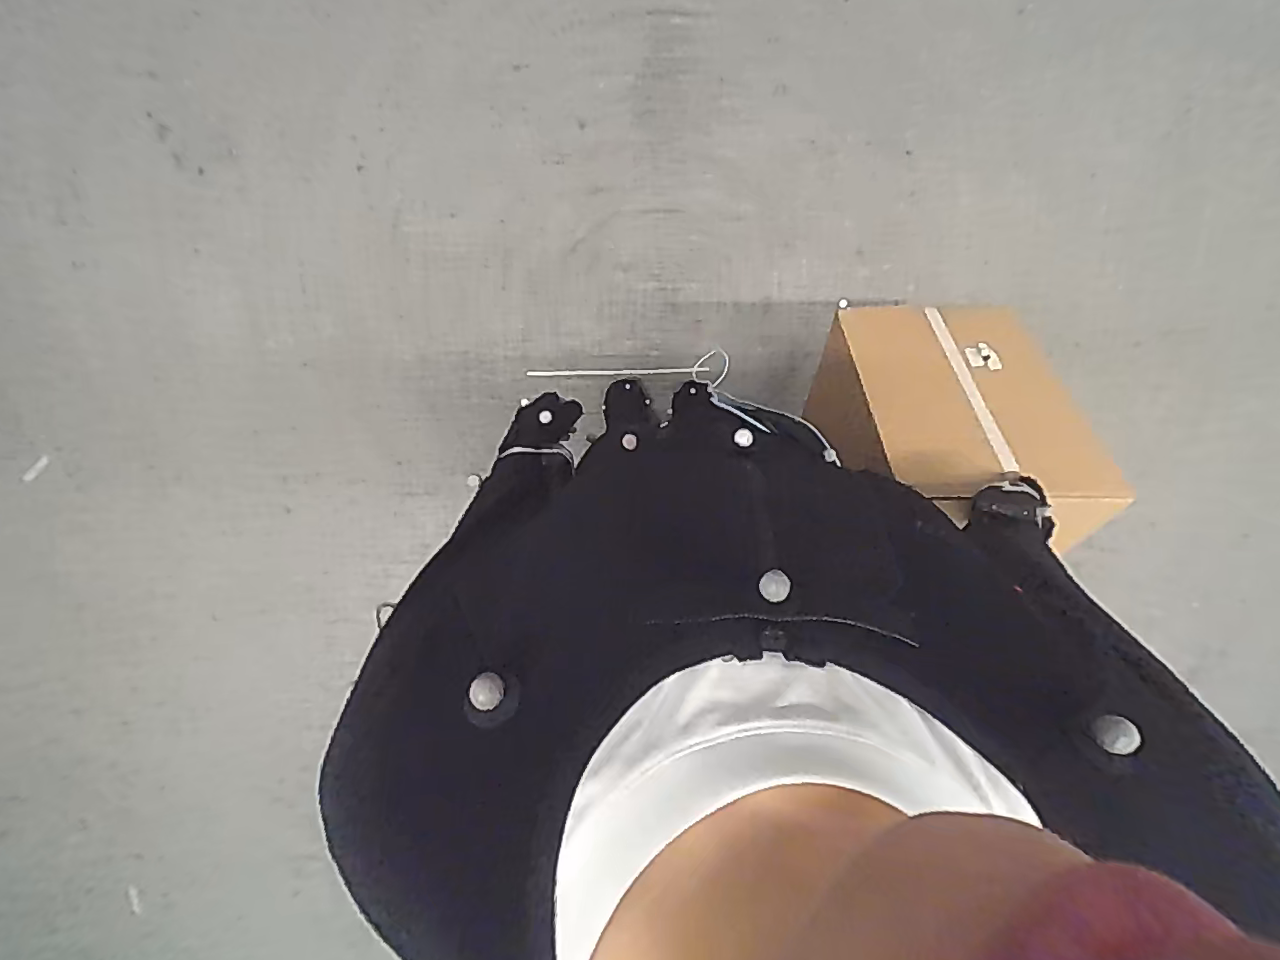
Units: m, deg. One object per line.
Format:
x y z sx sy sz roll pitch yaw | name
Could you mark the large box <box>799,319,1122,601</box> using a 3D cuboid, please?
0.499 -0.033 0.961 0.320 0.408 0.320 0 143 0 | large box
